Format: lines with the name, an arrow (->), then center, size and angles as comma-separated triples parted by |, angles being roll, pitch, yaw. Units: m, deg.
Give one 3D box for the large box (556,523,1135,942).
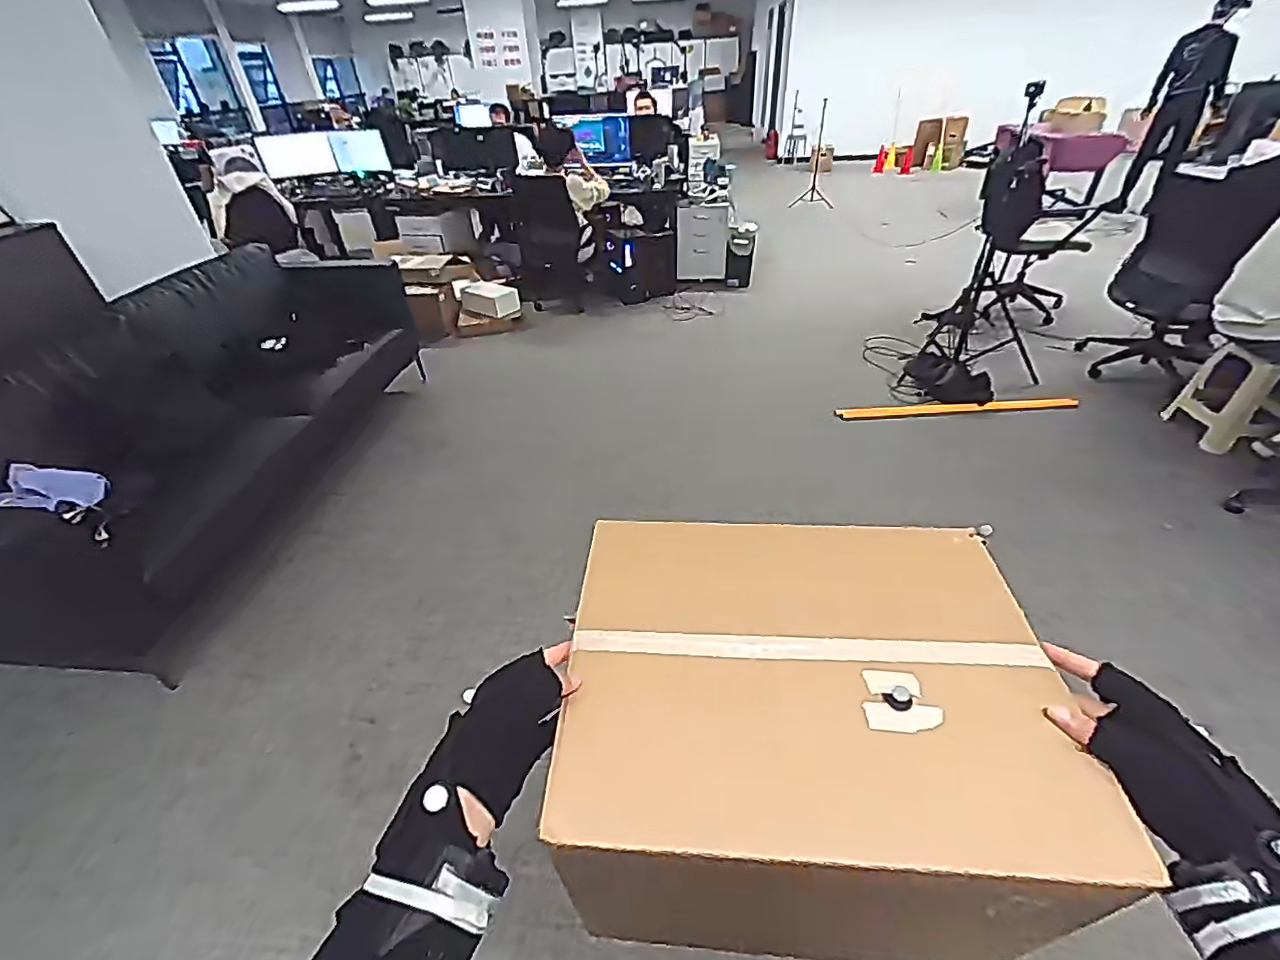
large box -> 0.149, 0.261, 0.581 | 0.408, 0.320, 0.320 | 0, 42, 5
